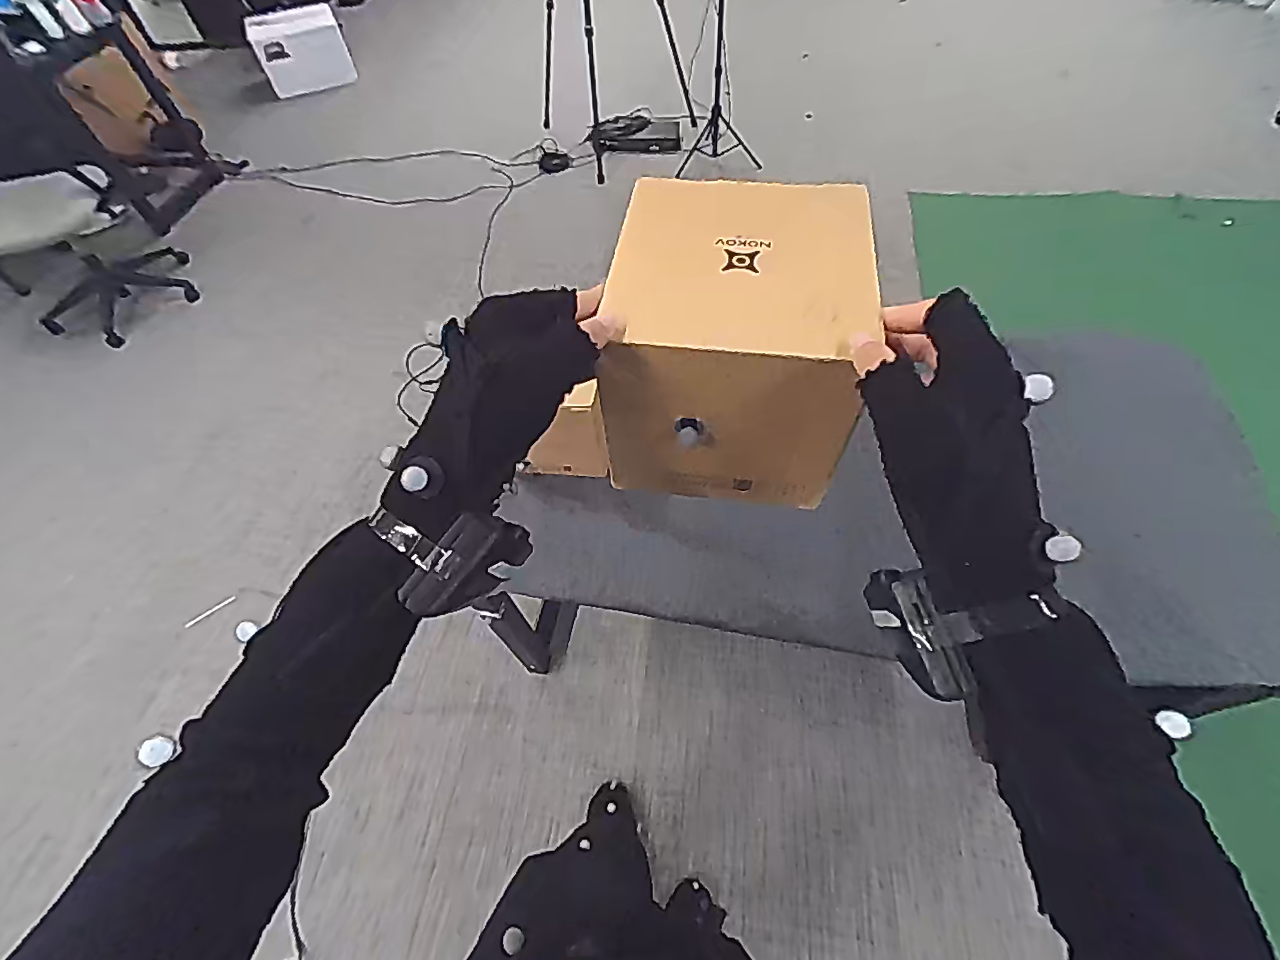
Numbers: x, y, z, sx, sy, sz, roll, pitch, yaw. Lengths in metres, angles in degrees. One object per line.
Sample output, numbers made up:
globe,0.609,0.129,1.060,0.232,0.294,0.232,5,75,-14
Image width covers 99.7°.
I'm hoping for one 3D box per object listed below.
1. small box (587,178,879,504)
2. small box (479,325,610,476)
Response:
small box,0.066,-0.099,0.410,0.168,0.176,0.179,6,57,7
small box,-0.132,-0.123,0.860,0.168,0.176,0.179,4,55,6
